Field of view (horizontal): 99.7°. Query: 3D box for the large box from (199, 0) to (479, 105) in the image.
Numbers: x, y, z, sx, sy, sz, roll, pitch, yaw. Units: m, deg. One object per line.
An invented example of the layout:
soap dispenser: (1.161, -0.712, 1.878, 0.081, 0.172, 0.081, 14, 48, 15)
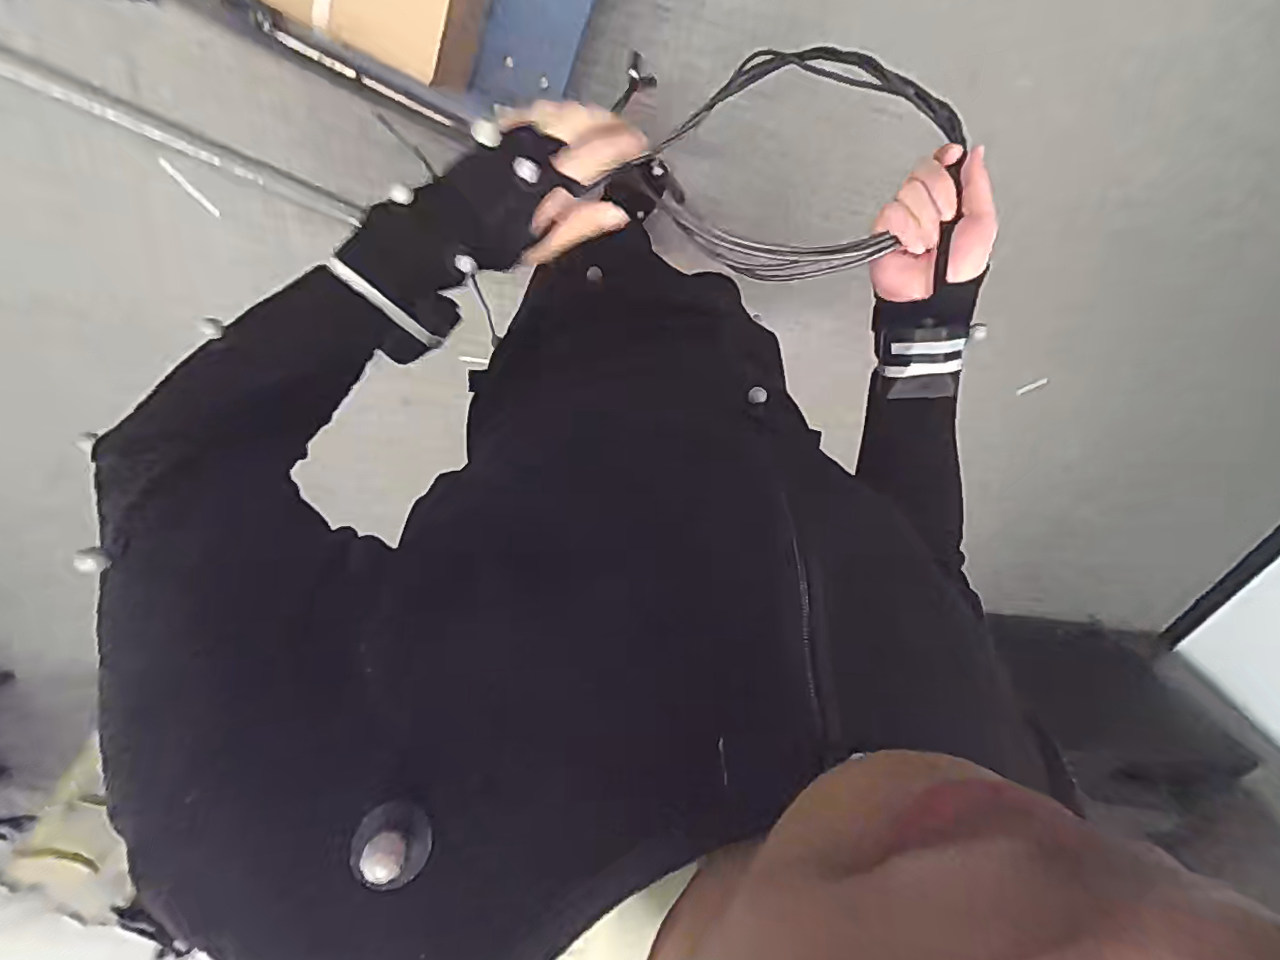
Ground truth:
large box: (-0.414, -0.854, 0.811, 0.320, 0.320, 0.408, 15, 120, -16)
